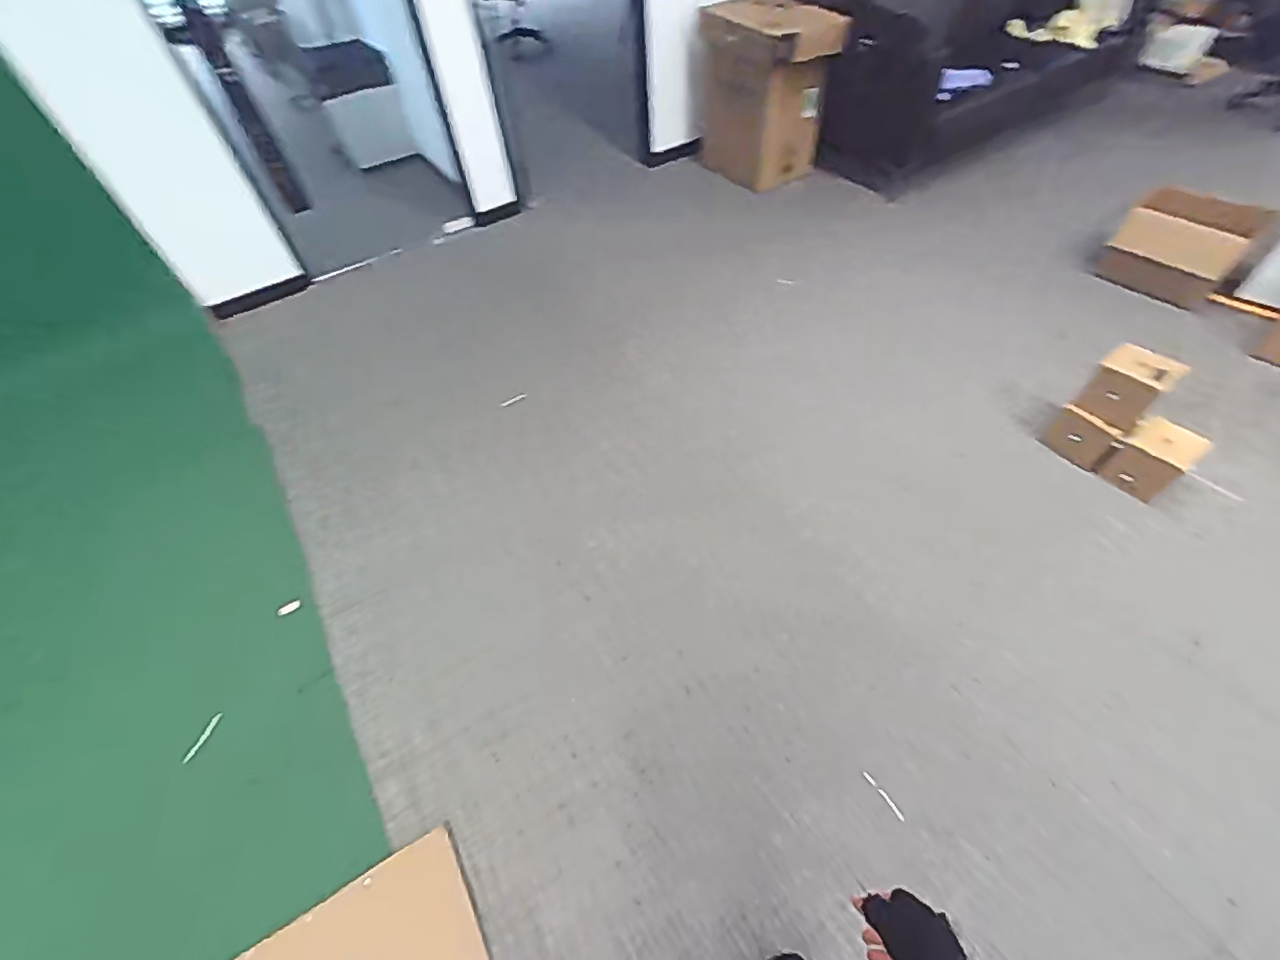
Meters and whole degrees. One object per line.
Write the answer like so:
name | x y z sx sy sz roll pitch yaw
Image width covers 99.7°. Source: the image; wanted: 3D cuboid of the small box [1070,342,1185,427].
small box | 1.500 -0.288 1.673 0.168 0.176 0.179 -32 54 -20
